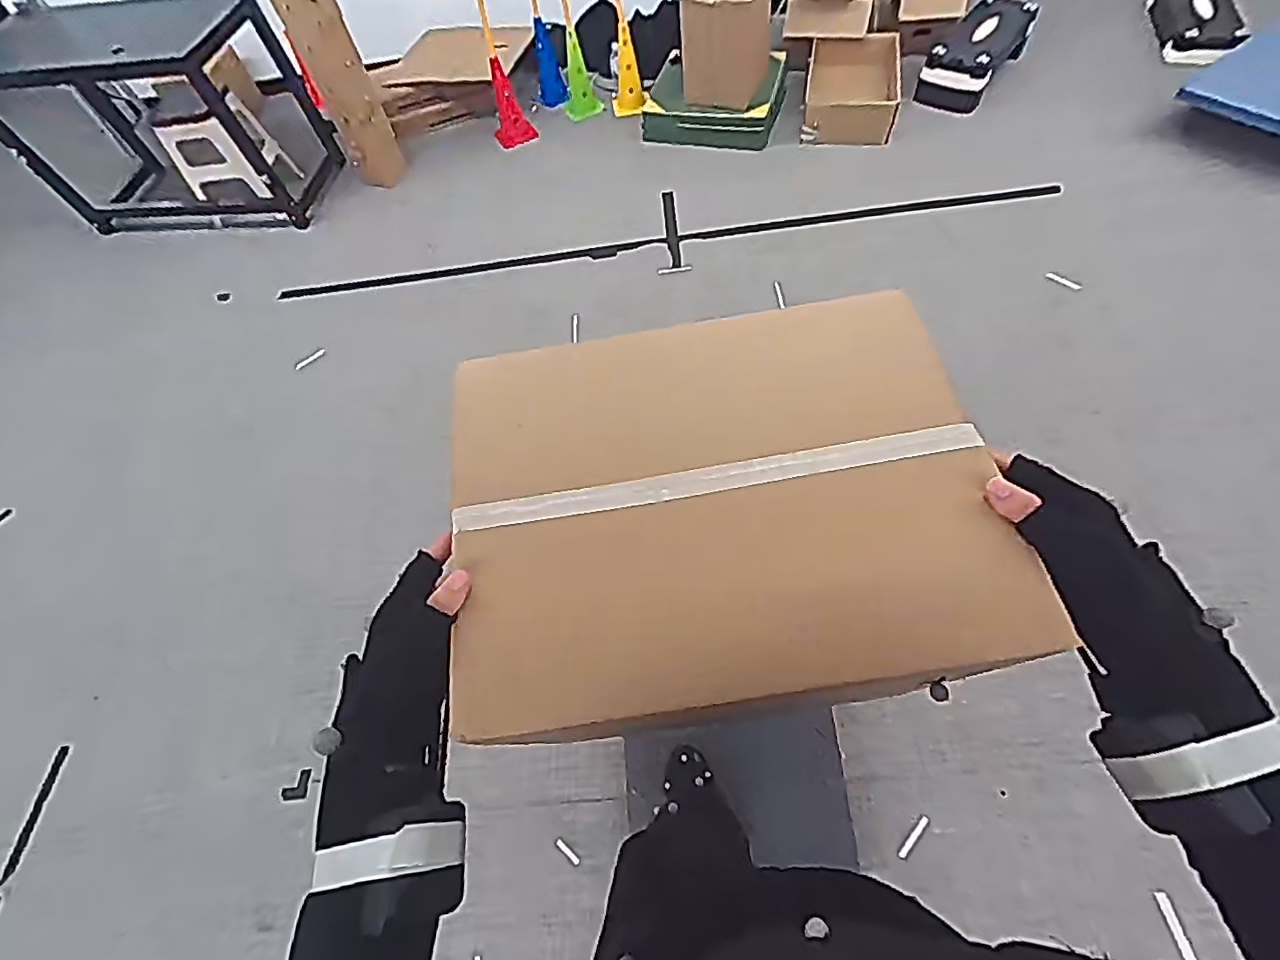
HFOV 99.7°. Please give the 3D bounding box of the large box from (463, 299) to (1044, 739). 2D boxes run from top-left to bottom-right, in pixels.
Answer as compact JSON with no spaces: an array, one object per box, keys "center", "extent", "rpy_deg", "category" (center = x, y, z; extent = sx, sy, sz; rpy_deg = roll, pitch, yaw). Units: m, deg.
[{"center":[0.071,0.067,0.560],"extent":[0.408,0.320,0.320],"rpy_deg":[-9,63,1],"category":"large box"}]
